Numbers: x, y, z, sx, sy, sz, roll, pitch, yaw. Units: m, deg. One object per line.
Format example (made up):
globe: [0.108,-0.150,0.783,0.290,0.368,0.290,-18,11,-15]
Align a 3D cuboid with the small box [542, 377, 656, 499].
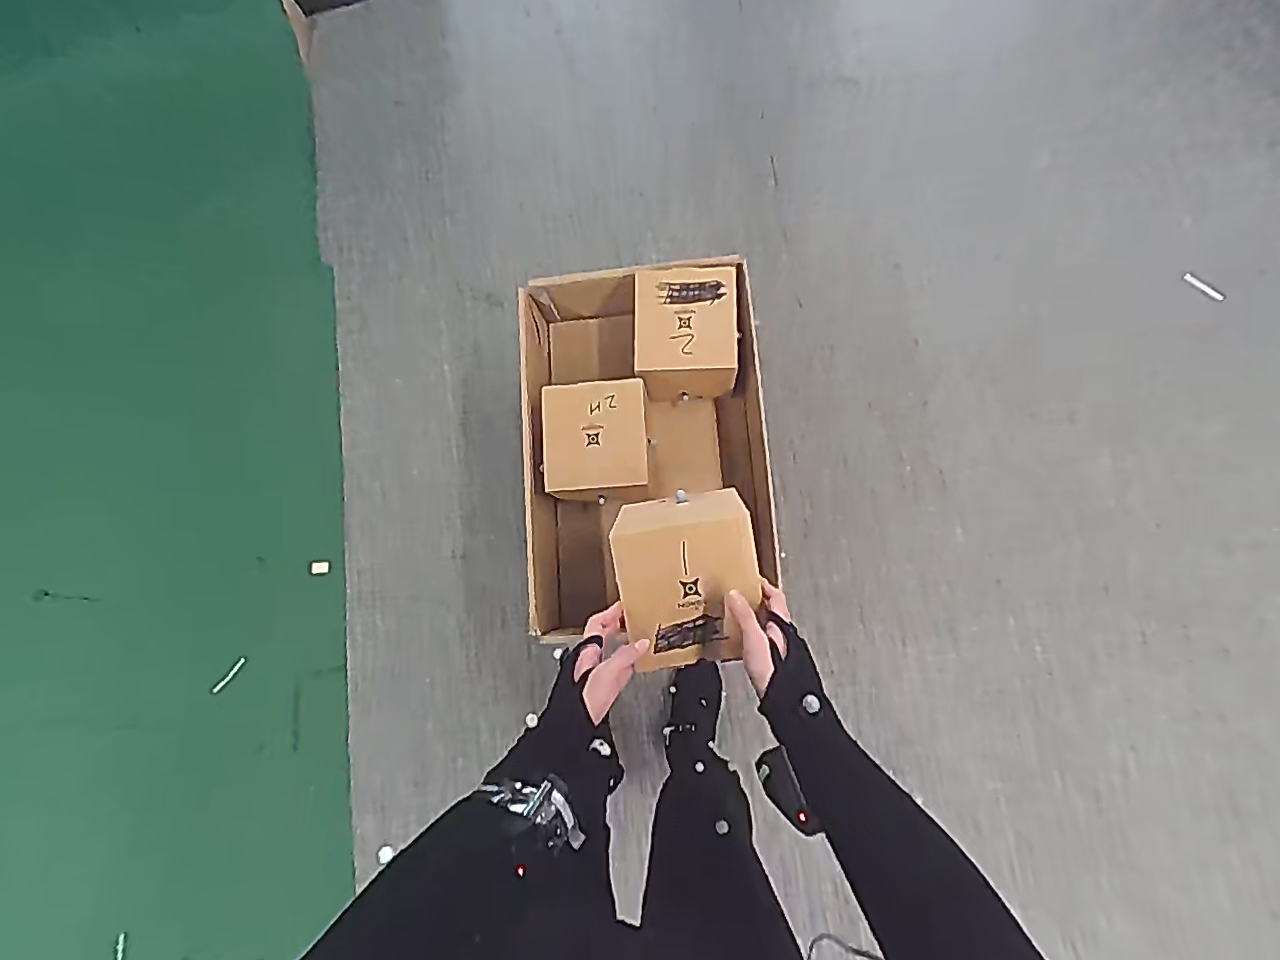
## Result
small box: [-0.064,-0.061,0.922,0.168,0.176,0.179,-4,81,5]

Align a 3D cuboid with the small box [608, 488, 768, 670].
small box: [0.063,0.119,0.702,0.168,0.176,0.179,-9,97,5]
